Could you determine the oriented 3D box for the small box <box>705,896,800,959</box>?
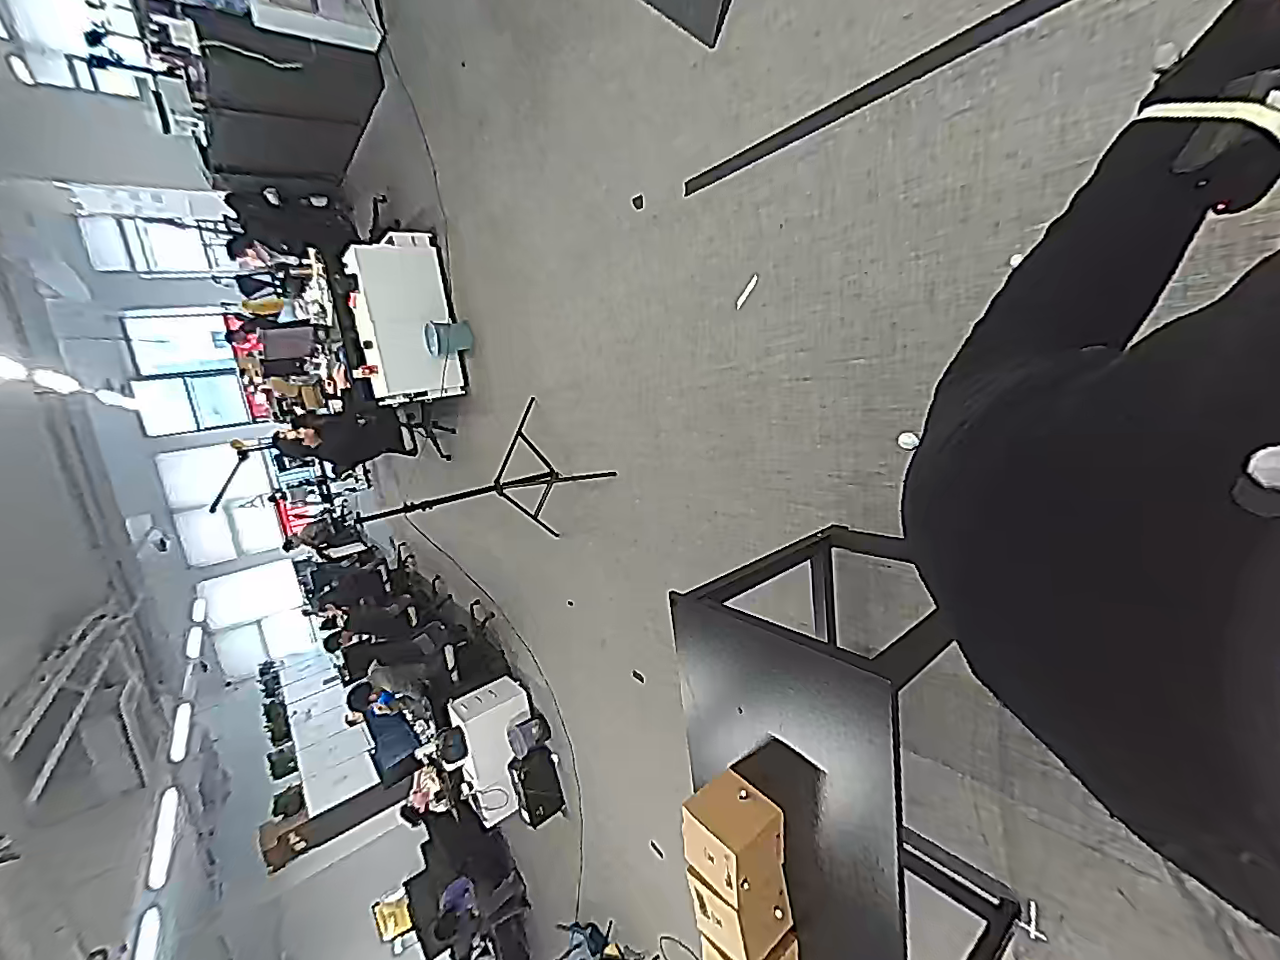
[{"bbox_3d":[0.286,1.209,1.357,0.179,0.176,0.168,13,112,52],"label":"small box"}]
